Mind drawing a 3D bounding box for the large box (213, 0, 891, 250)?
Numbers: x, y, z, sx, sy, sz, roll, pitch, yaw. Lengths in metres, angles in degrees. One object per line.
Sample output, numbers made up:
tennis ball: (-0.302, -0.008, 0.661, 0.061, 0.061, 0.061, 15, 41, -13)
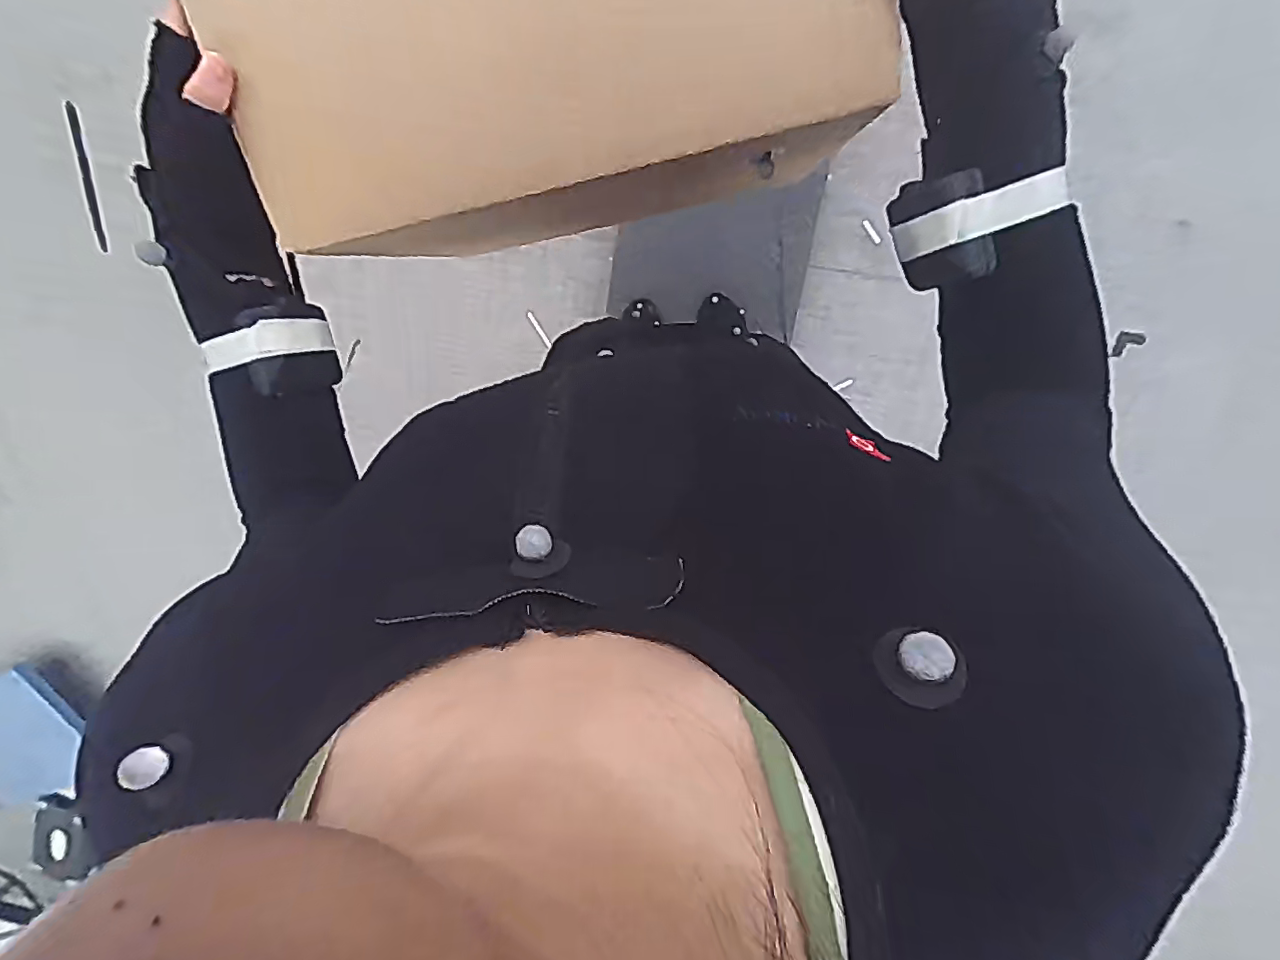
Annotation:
large box: (-0.057, -0.390, 0.438, 0.408, 0.320, 0.320, -8, 110, 9)
